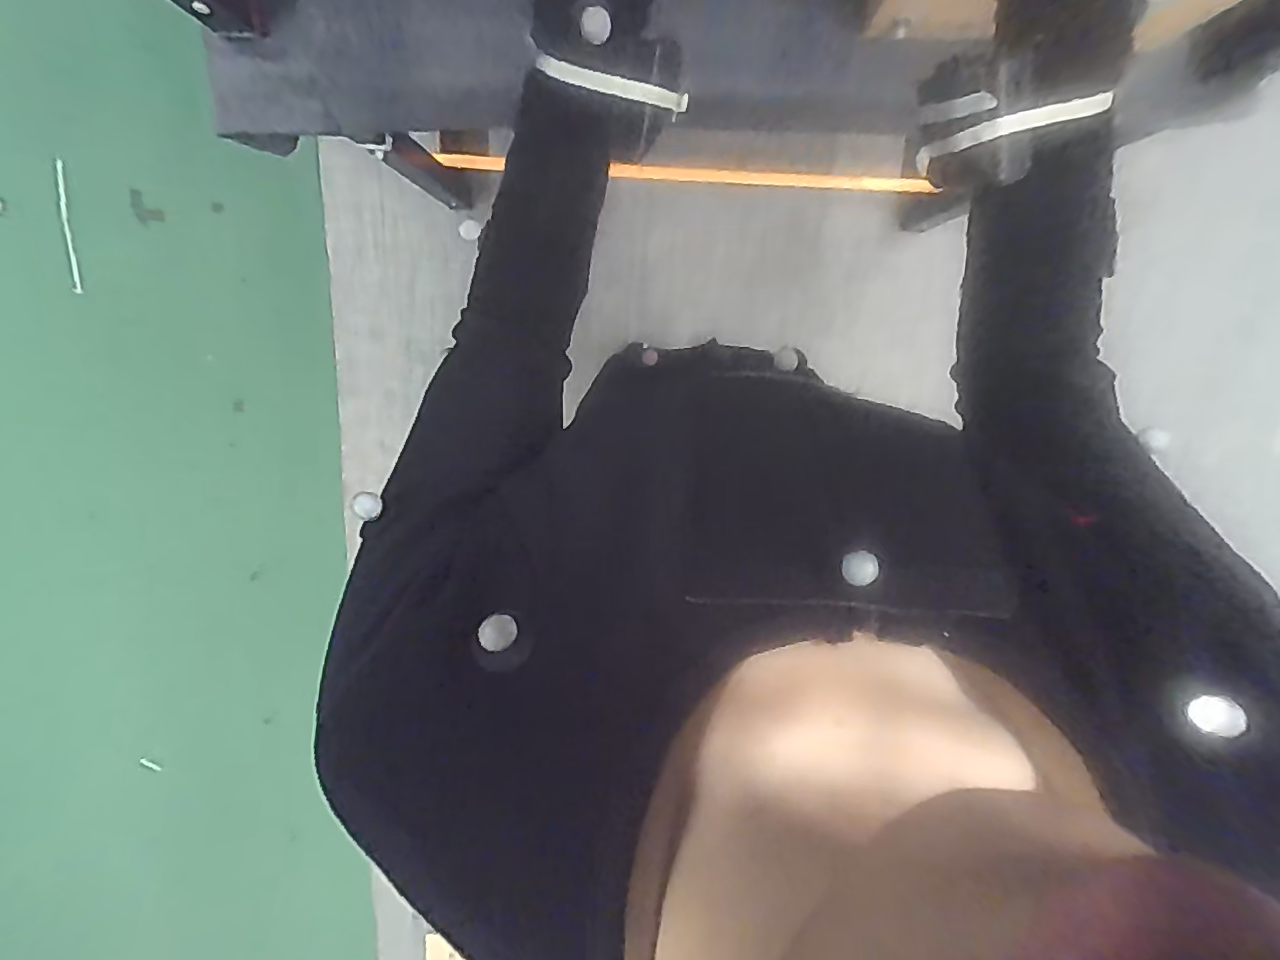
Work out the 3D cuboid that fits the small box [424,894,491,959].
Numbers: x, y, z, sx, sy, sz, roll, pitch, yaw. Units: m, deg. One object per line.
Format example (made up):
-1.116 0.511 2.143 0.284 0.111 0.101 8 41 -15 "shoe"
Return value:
-0.590 1.495 1.759 0.168 0.176 0.179 5 103 1 "small box"
